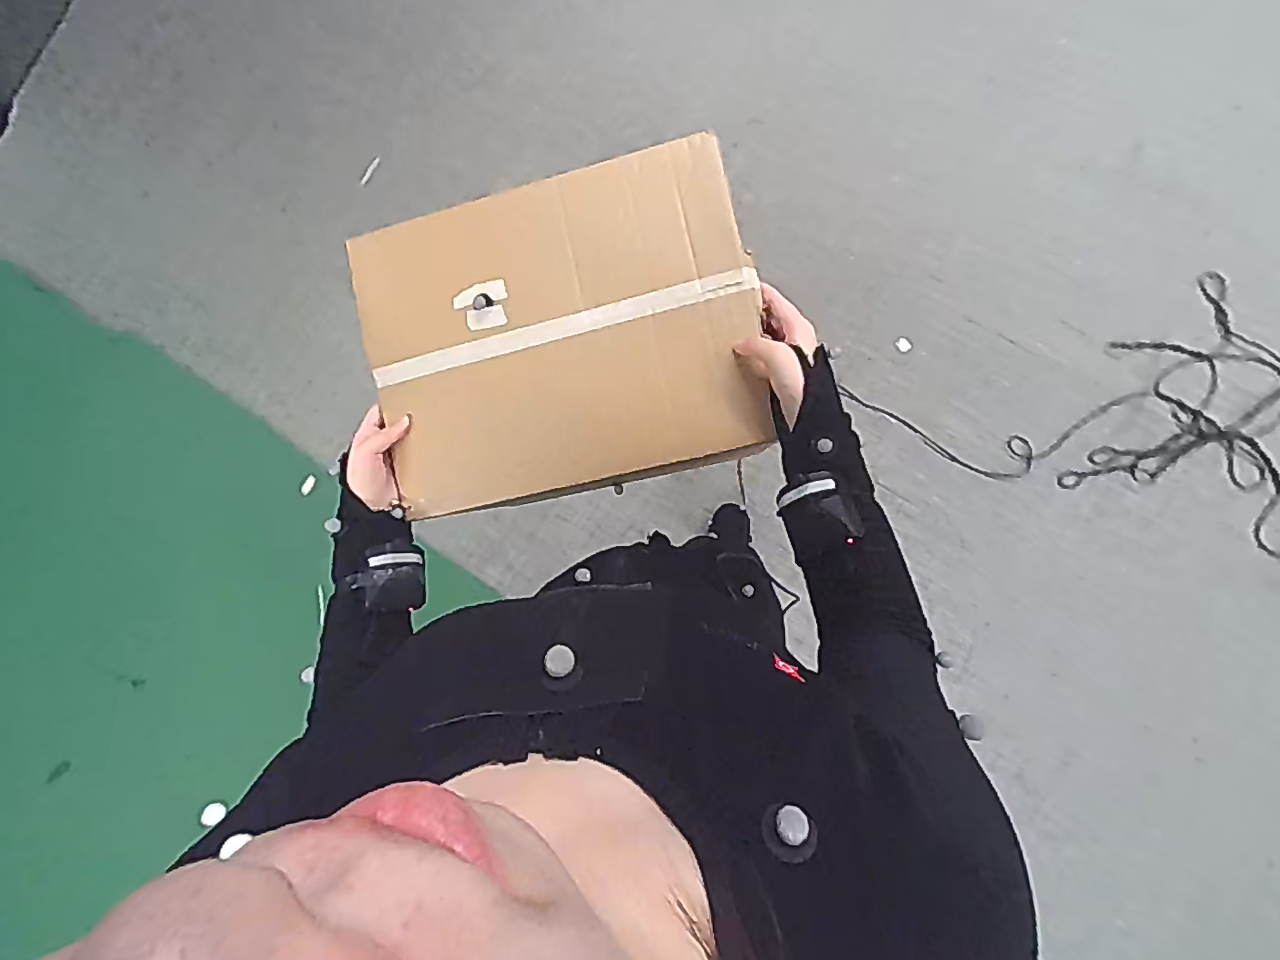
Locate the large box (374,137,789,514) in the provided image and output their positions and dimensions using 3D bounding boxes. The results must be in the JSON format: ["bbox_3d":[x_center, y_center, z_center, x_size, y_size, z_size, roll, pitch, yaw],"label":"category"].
[{"bbox_3d":[-0.050,-0.157,0.713,0.408,0.320,0.320,-12,88,9],"label":"large box"}]
